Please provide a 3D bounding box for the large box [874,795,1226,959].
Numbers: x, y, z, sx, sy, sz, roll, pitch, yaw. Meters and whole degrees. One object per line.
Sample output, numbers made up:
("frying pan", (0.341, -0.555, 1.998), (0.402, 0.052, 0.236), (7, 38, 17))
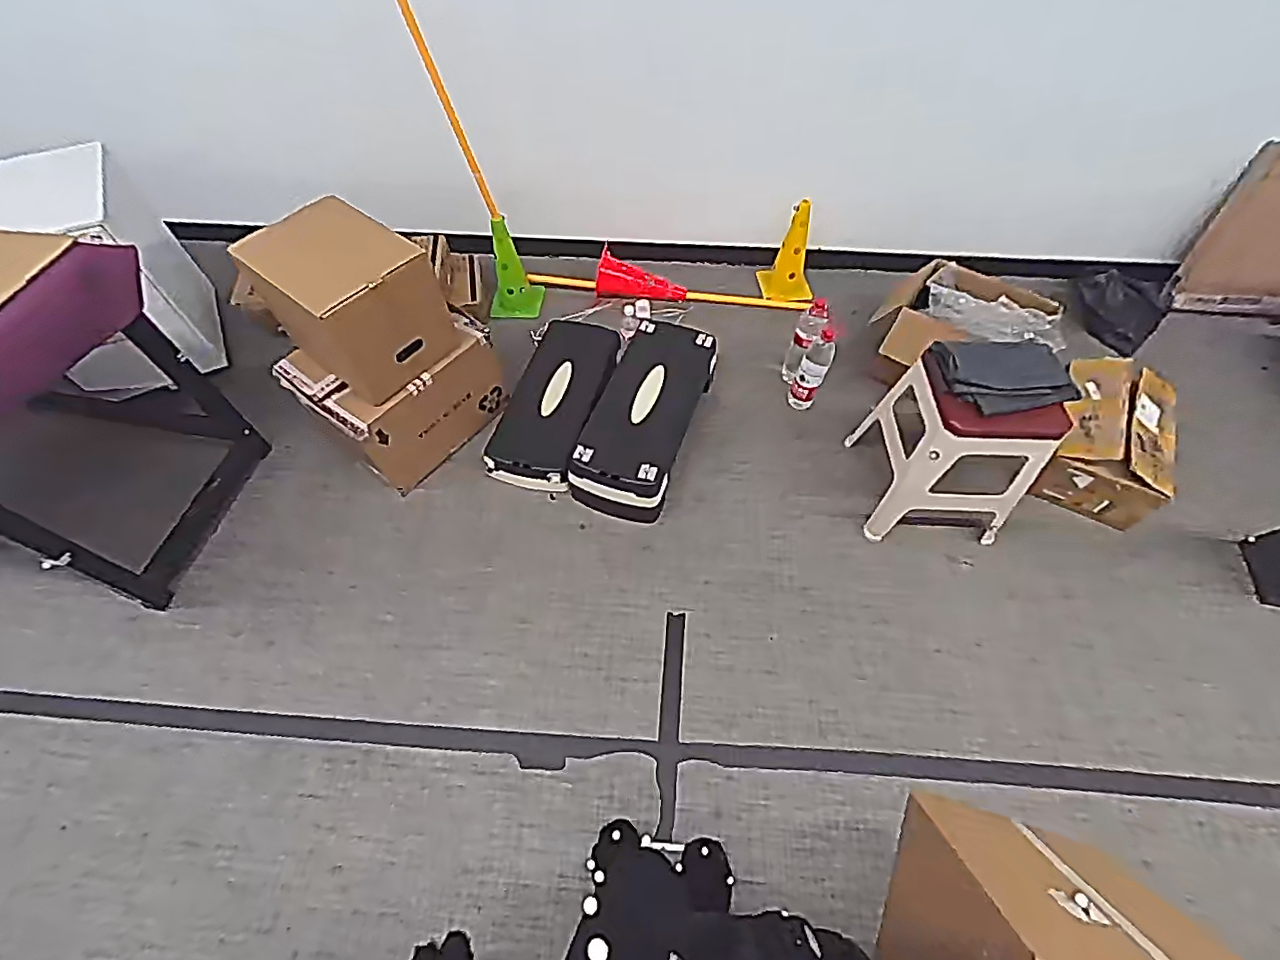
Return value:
("large box", (0.520, 0.681, 0.664), (0.320, 0.408, 0.320), (14, 86, 12))
